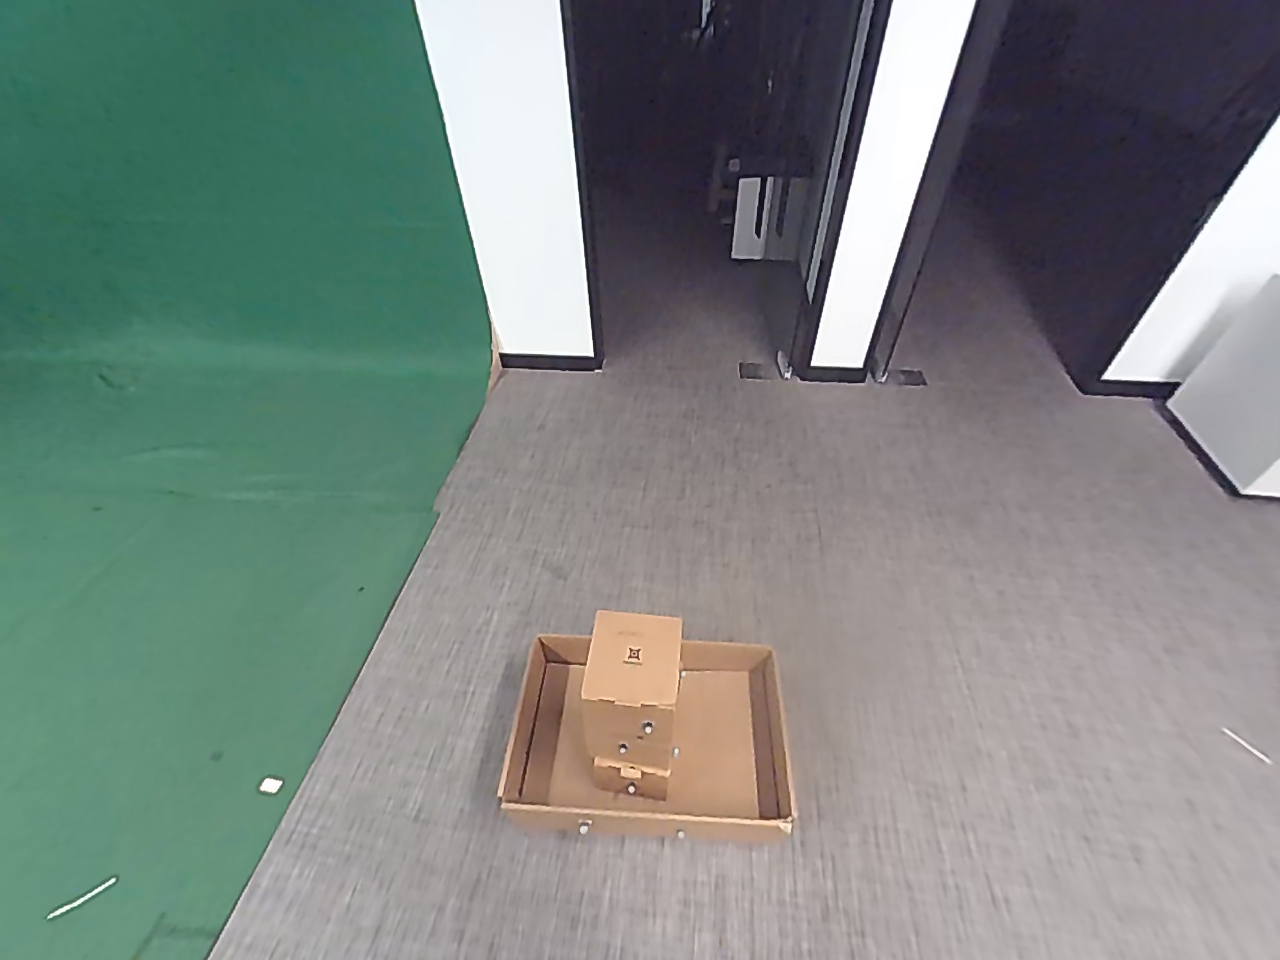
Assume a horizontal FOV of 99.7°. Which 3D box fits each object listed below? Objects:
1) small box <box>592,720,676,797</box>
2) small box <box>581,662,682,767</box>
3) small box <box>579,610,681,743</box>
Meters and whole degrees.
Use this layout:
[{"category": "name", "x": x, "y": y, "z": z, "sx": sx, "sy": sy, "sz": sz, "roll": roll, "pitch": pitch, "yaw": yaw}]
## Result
[{"category": "small box", "x": -0.007, "y": 0.607, "z": 1.250, "sx": 0.168, "sy": 0.176, "sz": 0.179, "roll": 7, "pitch": 46, "yaw": 7}, {"category": "small box", "x": -0.011, "y": 0.482, "z": 1.142, "sx": 0.179, "sy": 0.176, "sz": 0.168, "roll": 8, "pitch": 44, "yaw": 10}, {"category": "small box", "x": -0.014, "y": 0.374, "z": 1.022, "sx": 0.168, "sy": 0.176, "sz": 0.179, "roll": 6, "pitch": 43, "yaw": 4}]
